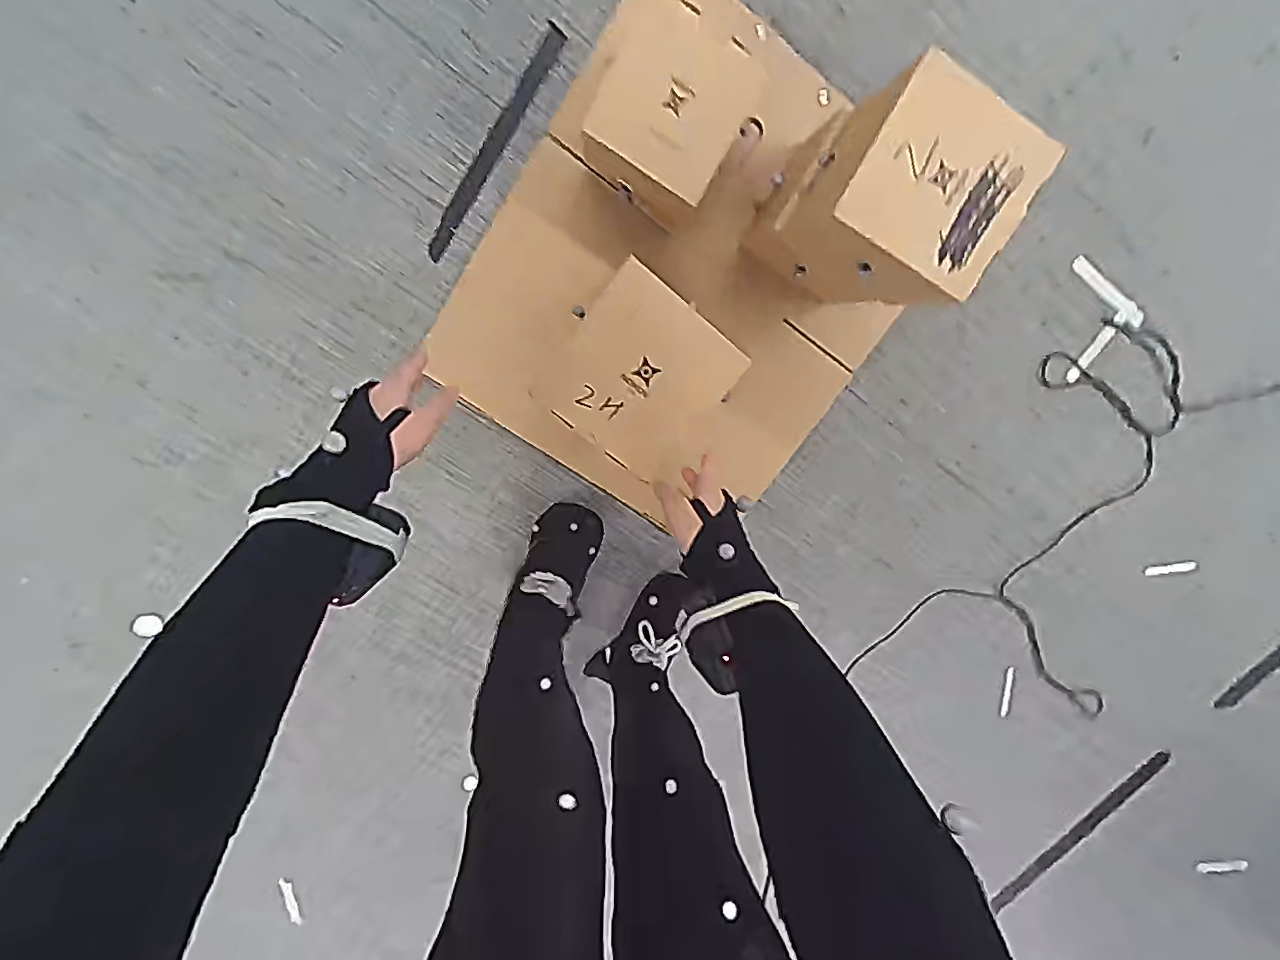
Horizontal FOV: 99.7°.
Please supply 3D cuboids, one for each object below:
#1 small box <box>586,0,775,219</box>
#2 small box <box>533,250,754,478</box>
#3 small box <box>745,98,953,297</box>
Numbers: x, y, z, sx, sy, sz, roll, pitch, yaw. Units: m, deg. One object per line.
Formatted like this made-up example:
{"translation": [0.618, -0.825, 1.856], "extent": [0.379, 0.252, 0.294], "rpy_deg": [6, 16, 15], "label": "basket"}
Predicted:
{"translation": [0.041, -0.476, 0.704], "extent": [0.168, 0.176, 0.179], "rpy_deg": [28, 103, -10], "label": "small box"}
{"translation": [-0.002, -0.137, 0.631], "extent": [0.168, 0.176, 0.179], "rpy_deg": [37, 102, -13], "label": "small box"}
{"translation": [0.275, -0.374, 0.753], "extent": [0.179, 0.176, 0.168], "rpy_deg": [29, 103, -12], "label": "small box"}
